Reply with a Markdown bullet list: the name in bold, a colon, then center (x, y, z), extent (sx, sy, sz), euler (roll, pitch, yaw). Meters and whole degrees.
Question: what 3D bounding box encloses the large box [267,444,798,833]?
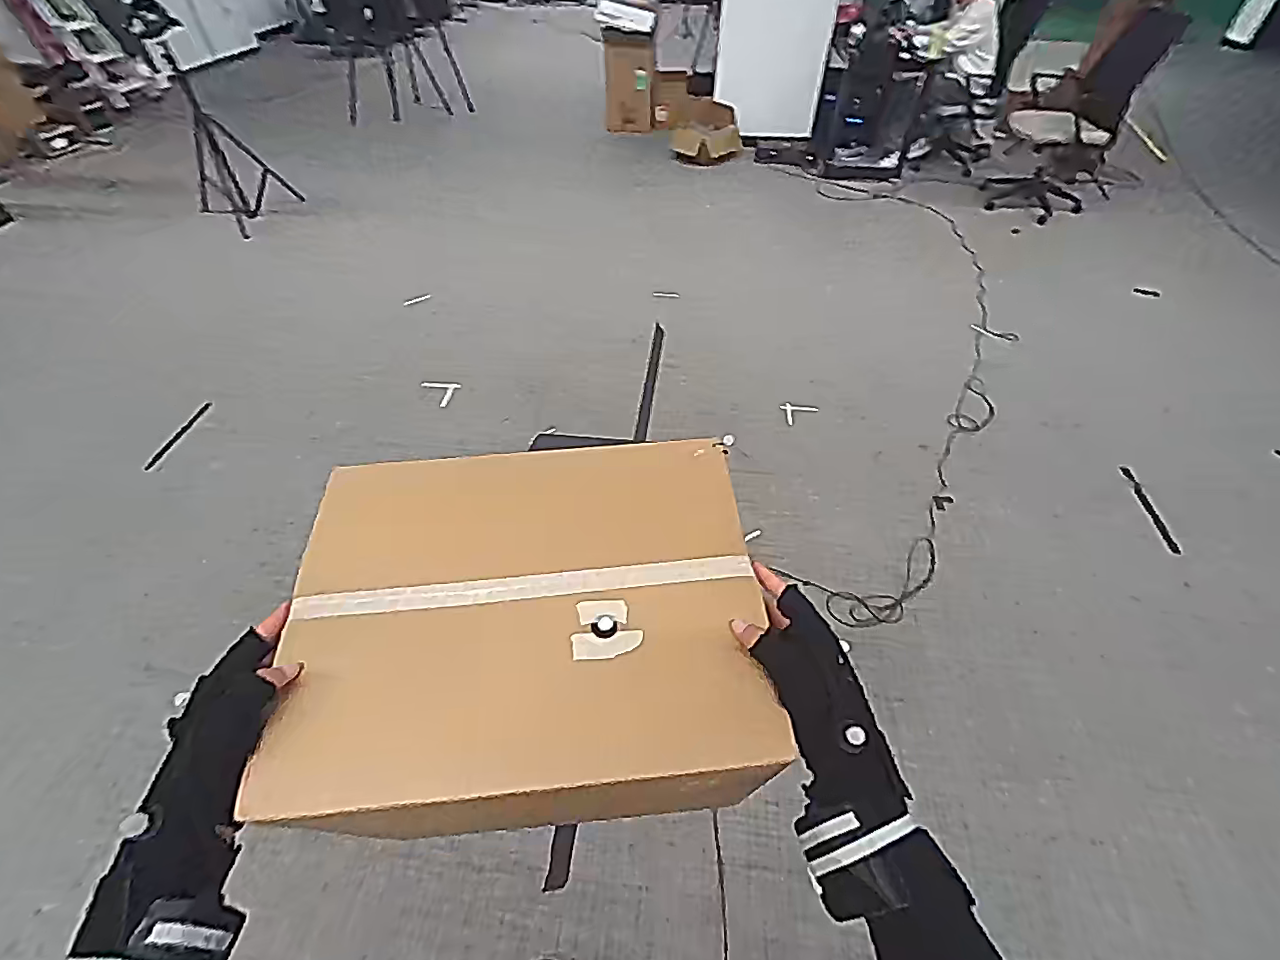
- **large box**: center (-0.090, 0.185, 0.608), extent (0.408, 0.320, 0.320), euler (-3, 55, -3)
